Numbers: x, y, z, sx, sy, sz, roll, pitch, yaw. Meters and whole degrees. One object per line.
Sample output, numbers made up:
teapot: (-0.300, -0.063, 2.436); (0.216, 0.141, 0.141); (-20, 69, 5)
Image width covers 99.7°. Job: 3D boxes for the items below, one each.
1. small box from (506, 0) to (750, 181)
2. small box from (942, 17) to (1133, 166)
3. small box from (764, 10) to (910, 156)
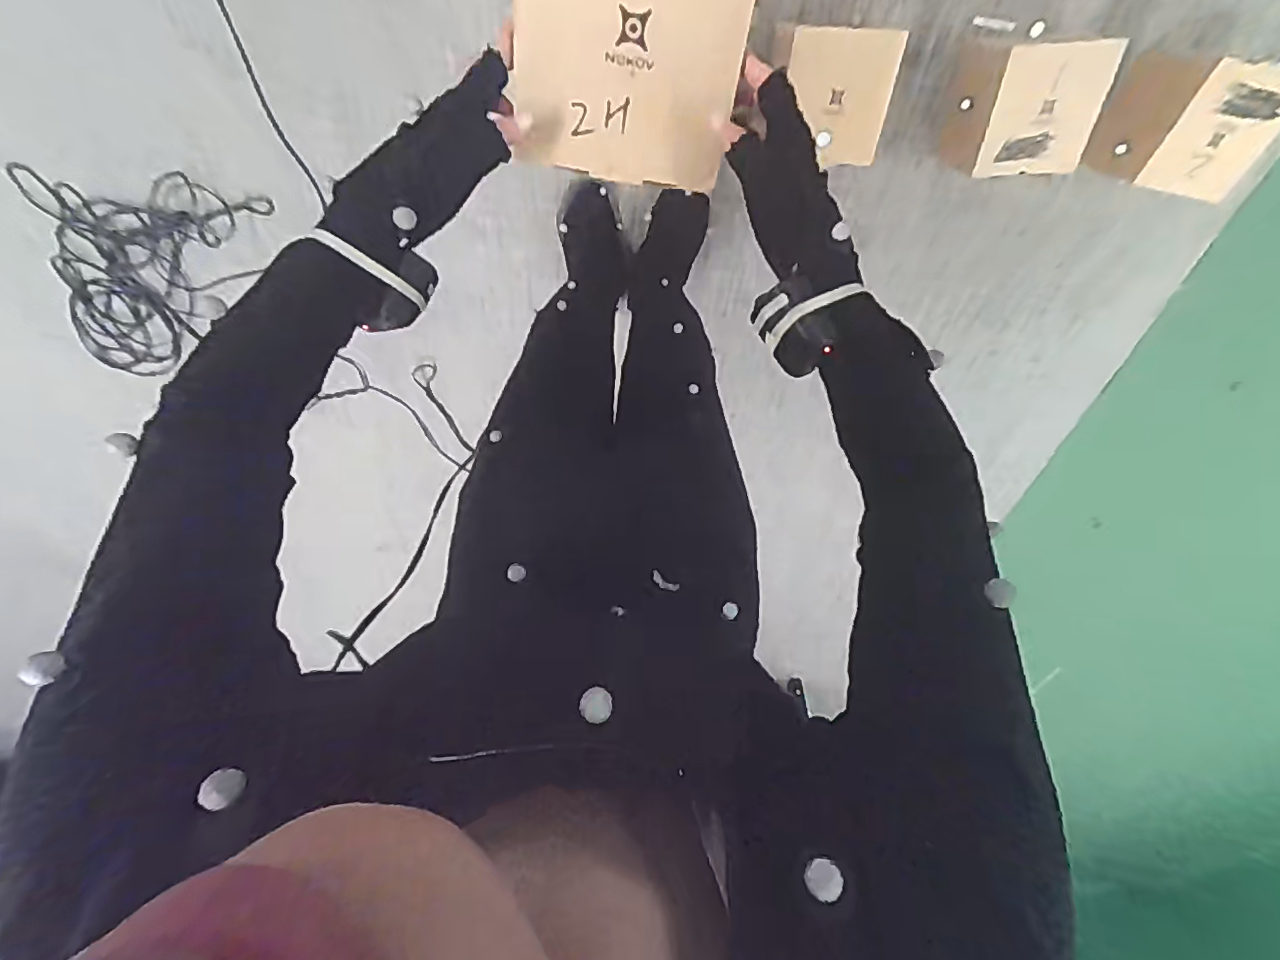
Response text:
small box: (-0.010, -0.366, 0.432); (0.168, 0.176, 0.179); (7, 130, -5)
small box: (0.622, -0.632, 0.879); (0.168, 0.176, 0.179); (-2, 131, 4)
small box: (0.304, -0.649, 0.881); (0.168, 0.176, 0.179); (3, 133, 2)
